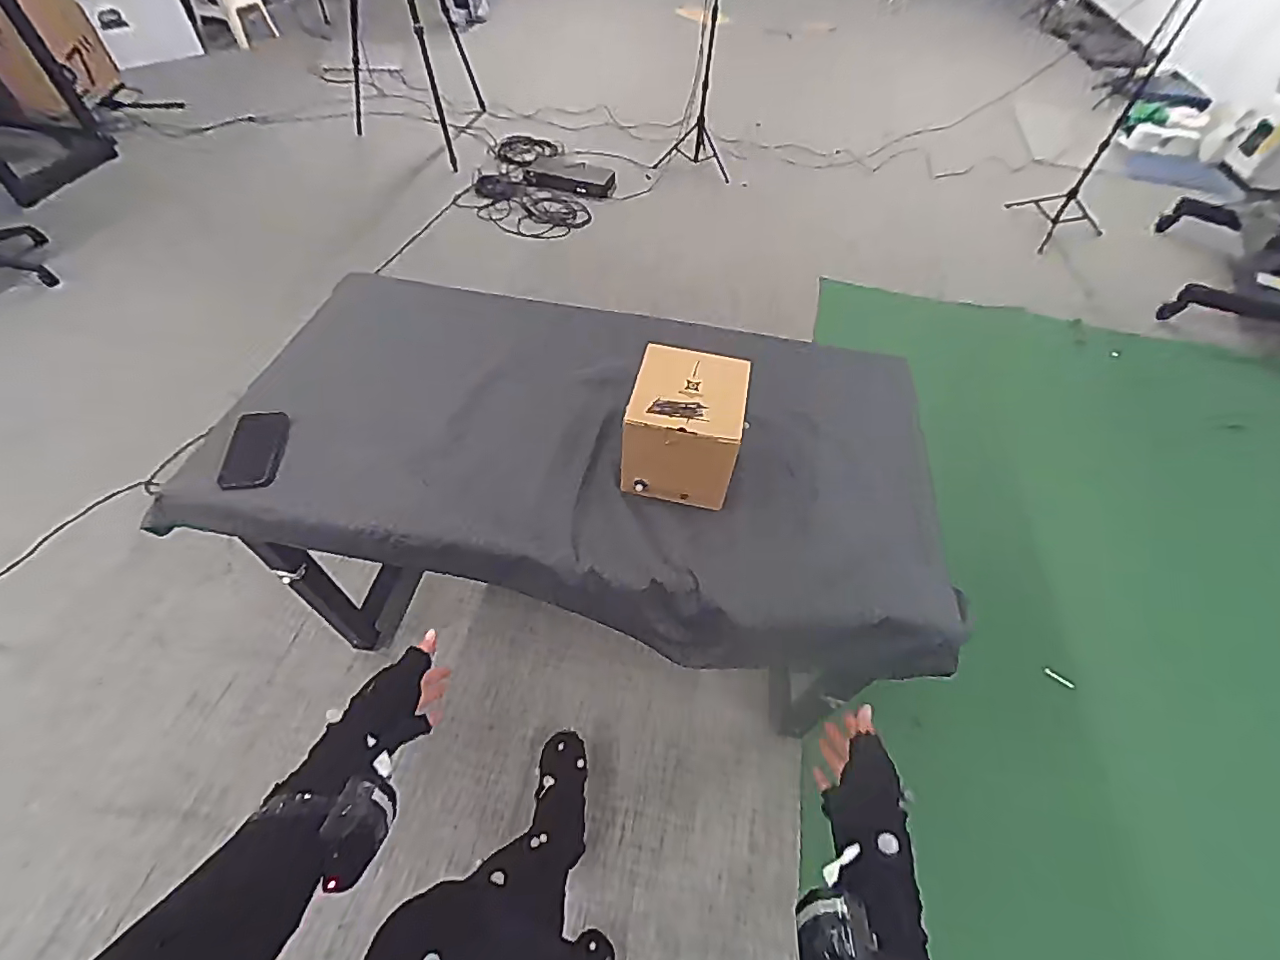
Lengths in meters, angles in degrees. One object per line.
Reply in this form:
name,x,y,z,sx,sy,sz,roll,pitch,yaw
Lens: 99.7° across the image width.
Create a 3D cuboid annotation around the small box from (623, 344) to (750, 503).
small box,0.071,-0.086,0.865,0.168,0.176,0.179,12,52,4
